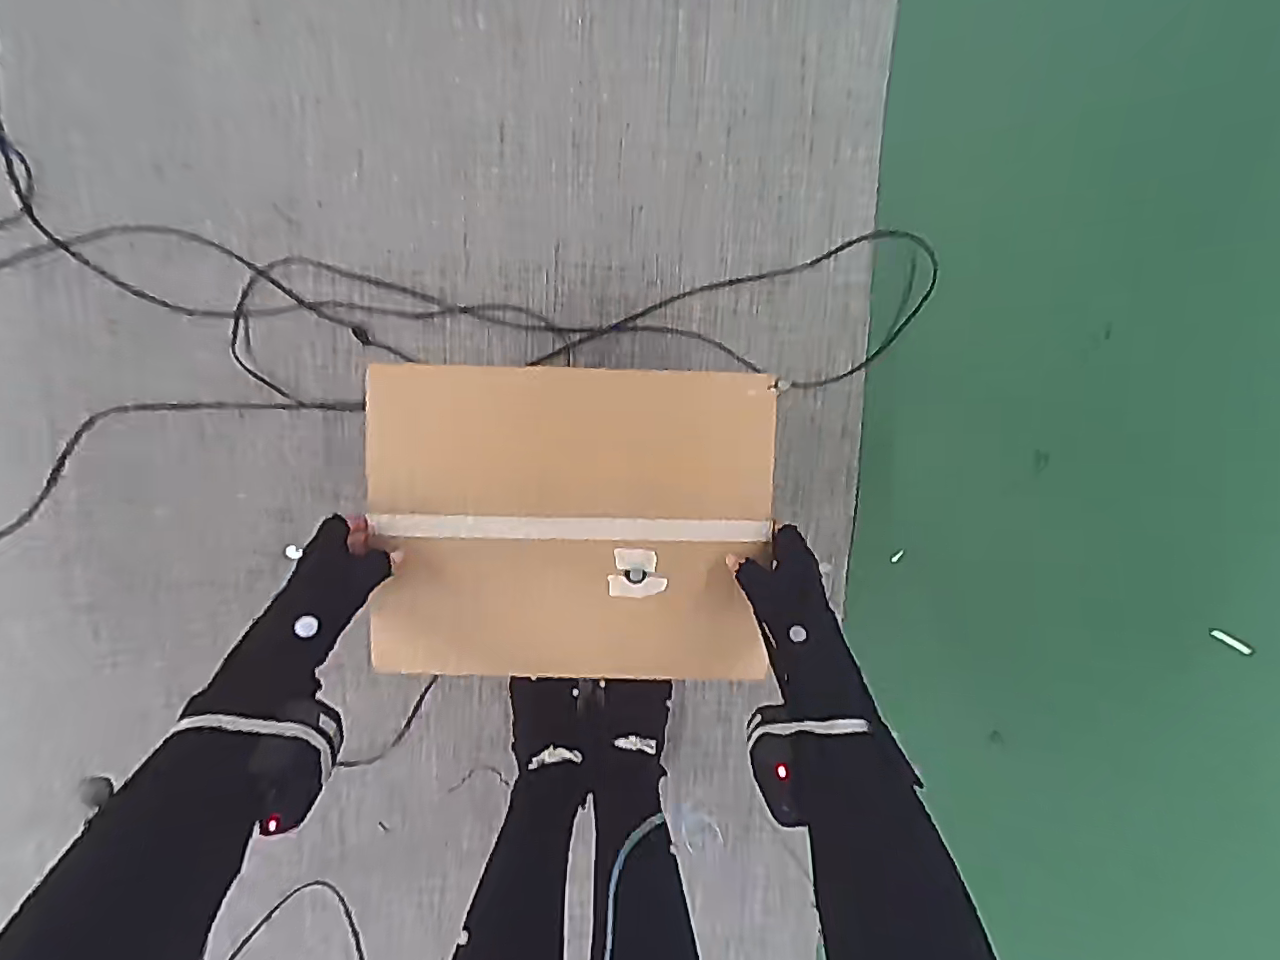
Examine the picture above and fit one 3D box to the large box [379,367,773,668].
[{"bbox_3d":[-0.069,0.032,0.702,0.408,0.320,0.320,1,95,-1],"label":"large box"}]
